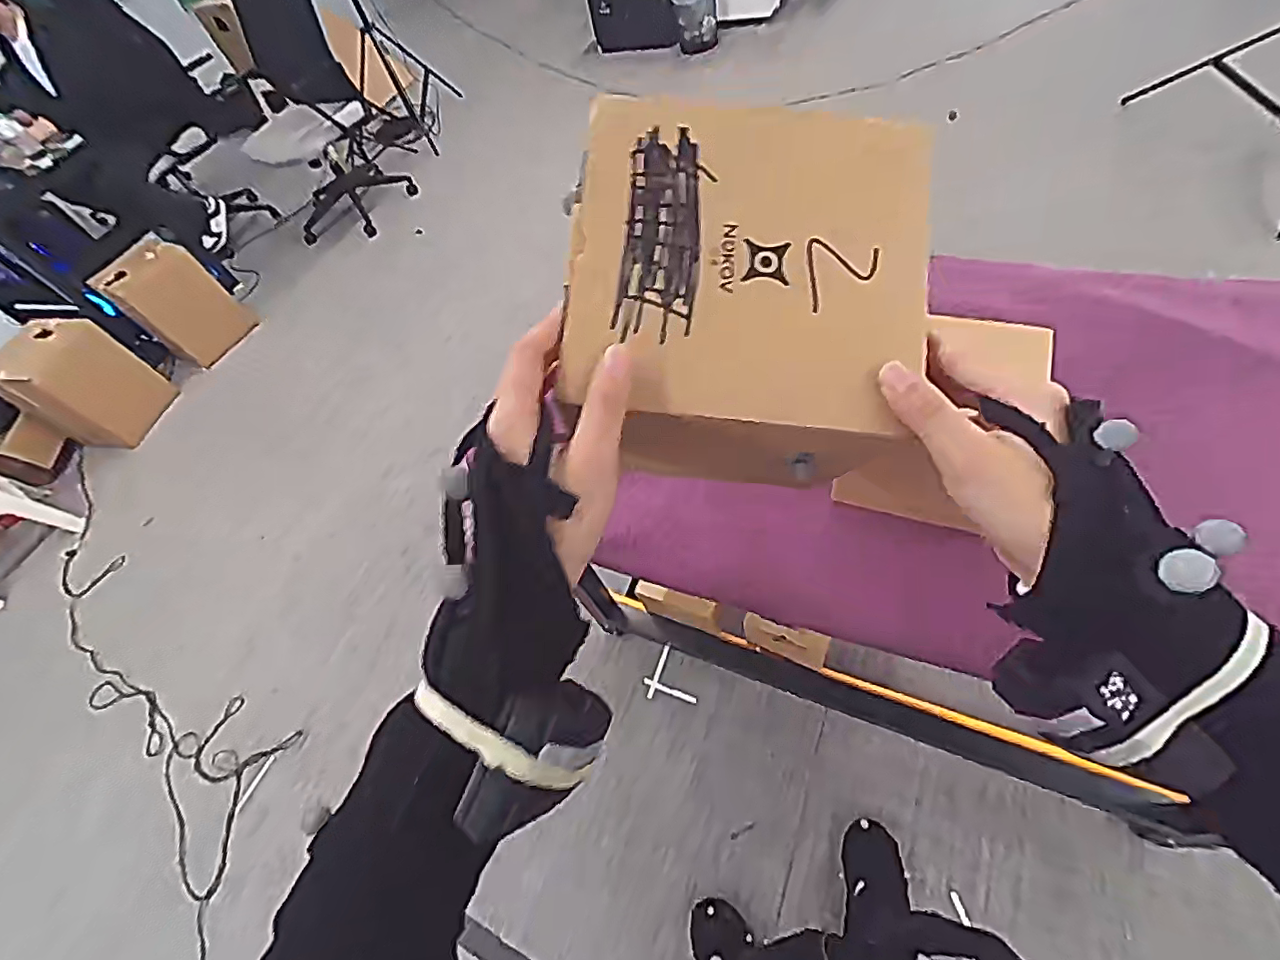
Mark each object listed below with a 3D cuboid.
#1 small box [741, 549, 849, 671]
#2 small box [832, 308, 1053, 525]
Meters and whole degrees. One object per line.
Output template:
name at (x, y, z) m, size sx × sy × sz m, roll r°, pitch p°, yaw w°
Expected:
small box at (0.328, 0.282, 1.151) m, size 0.168 × 0.176 × 0.179 m, roll 20°, pitch 65°, yaw 23°
small box at (0.335, -0.068, 0.623) m, size 0.179 × 0.176 × 0.168 m, roll 14°, pitch 61°, yaw 21°
